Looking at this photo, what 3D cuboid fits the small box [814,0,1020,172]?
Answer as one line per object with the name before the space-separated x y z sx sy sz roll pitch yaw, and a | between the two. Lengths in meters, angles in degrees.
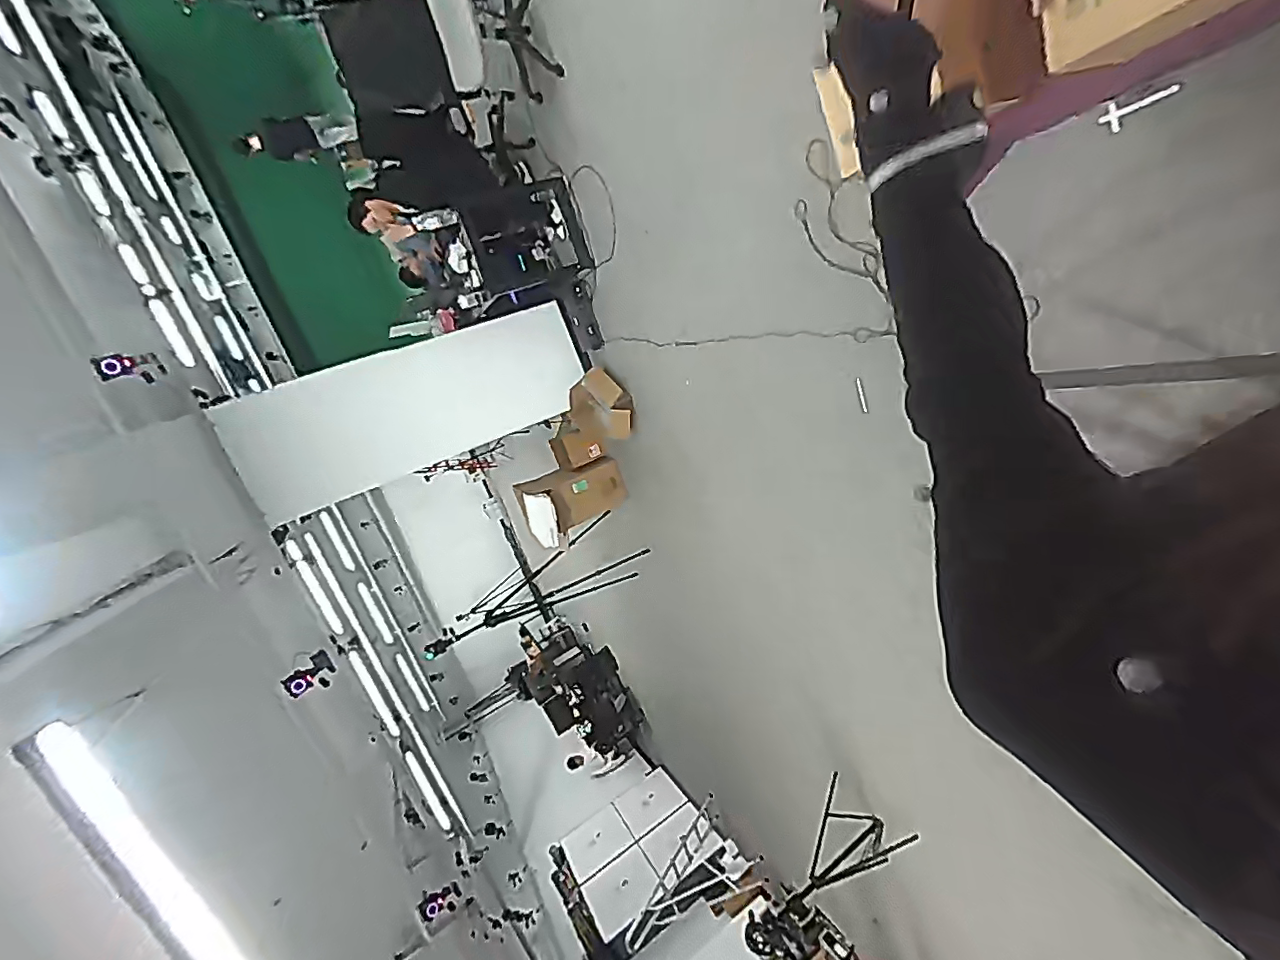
small box | 0.385 -0.569 0.762 0.179 0.176 0.168 2 116 64
